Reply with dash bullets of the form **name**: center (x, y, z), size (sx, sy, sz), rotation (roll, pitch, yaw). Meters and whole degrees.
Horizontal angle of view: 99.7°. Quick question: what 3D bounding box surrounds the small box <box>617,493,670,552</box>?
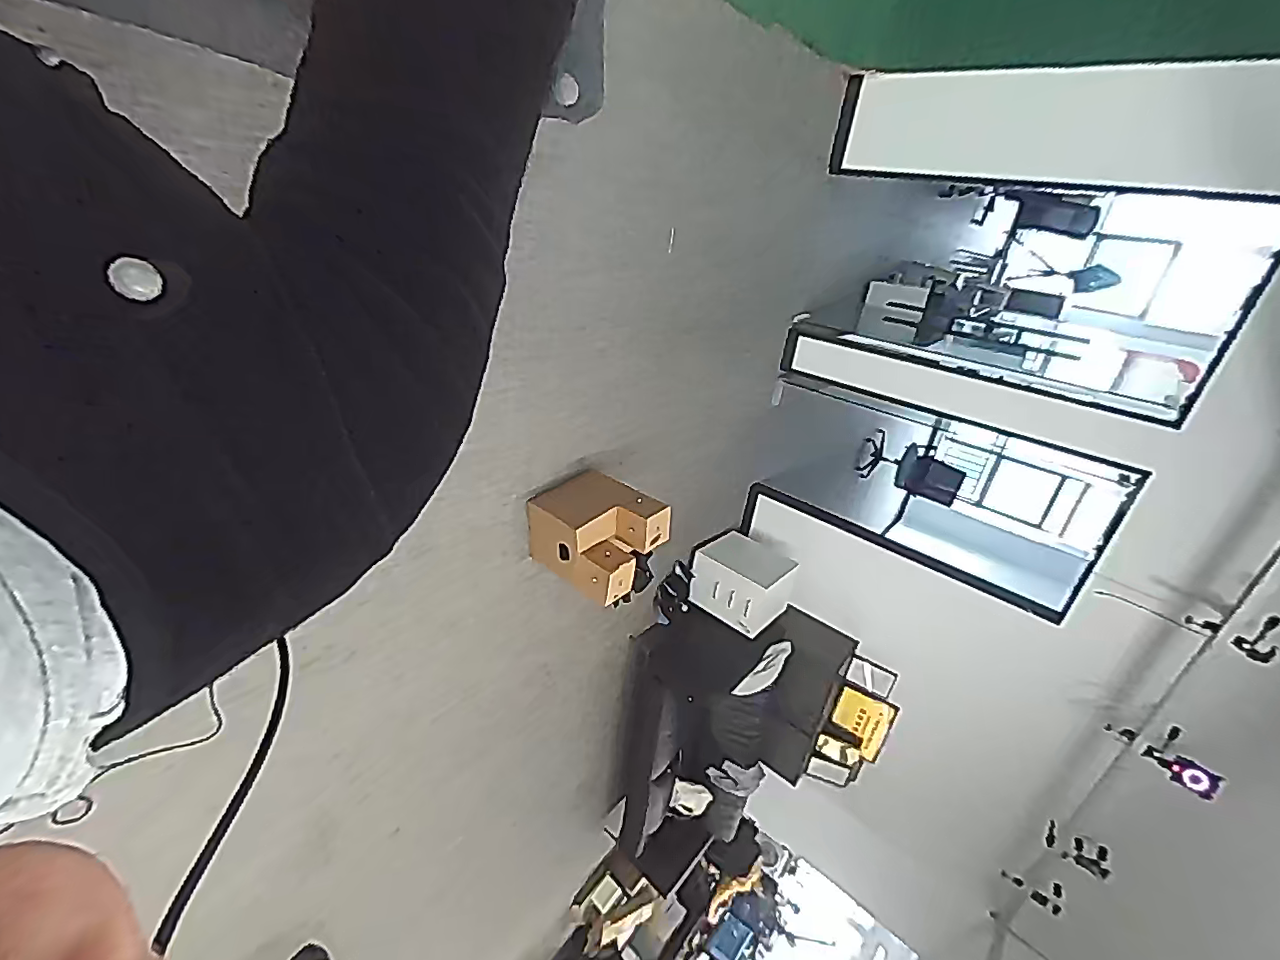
- **small box**: center (0.011, 0.181, 2.350), size (0.168, 0.176, 0.179), rotation (-28, 129, -45)

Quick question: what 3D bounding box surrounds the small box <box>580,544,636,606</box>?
- **small box**: center (-0.137, 0.388, 2.267), size (0.168, 0.176, 0.179), rotation (-26, 131, -46)
